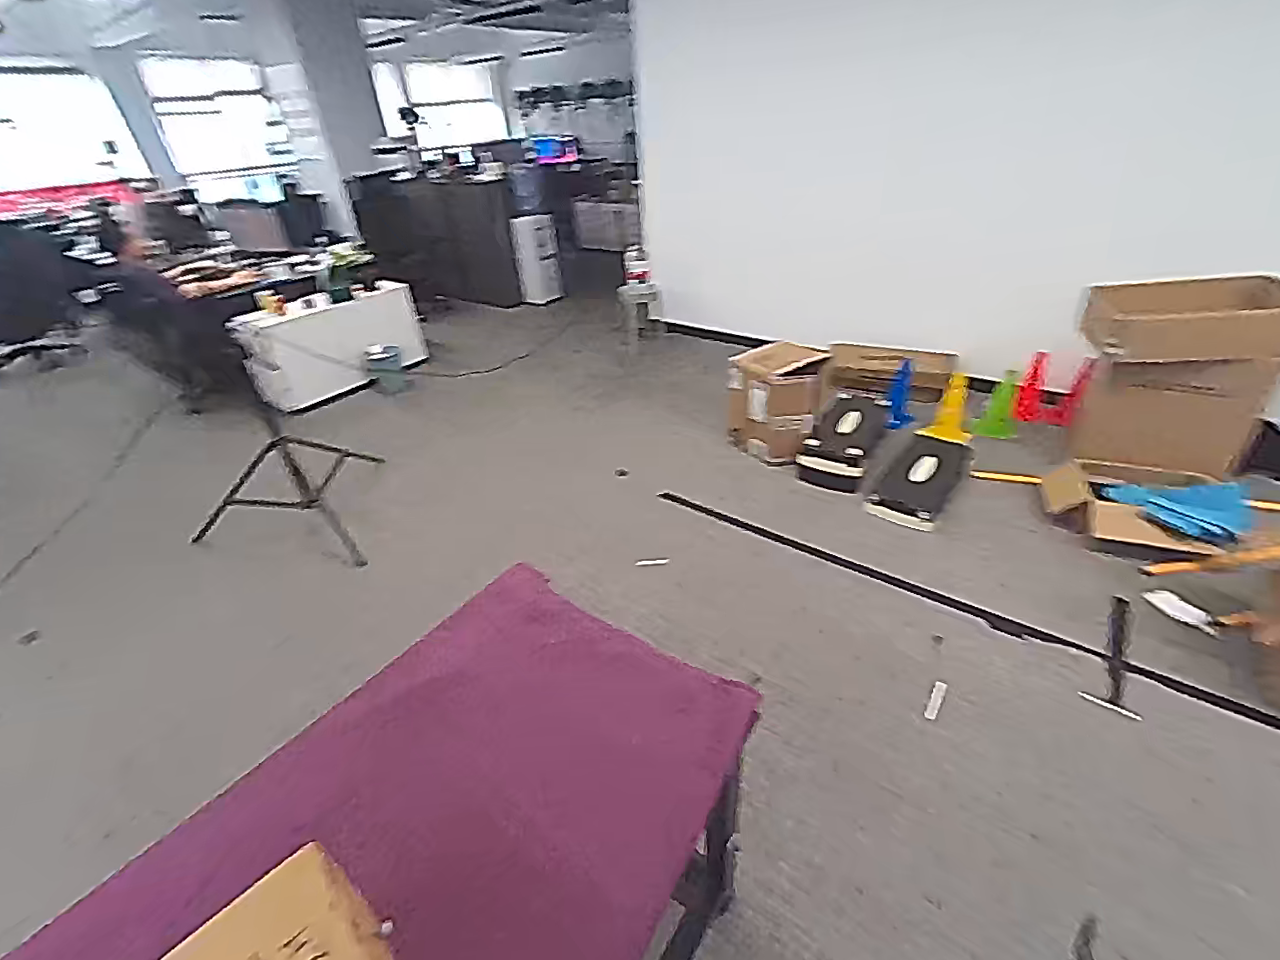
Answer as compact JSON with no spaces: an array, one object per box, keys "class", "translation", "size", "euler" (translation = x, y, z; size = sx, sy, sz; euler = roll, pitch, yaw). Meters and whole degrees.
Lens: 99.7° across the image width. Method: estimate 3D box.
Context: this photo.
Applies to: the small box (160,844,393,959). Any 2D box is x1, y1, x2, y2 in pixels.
[{"class":"small box","translation":[-0.361,0.534,0.546],"size":[0.168,0.176,0.179],"euler":[26,44,37]}]
